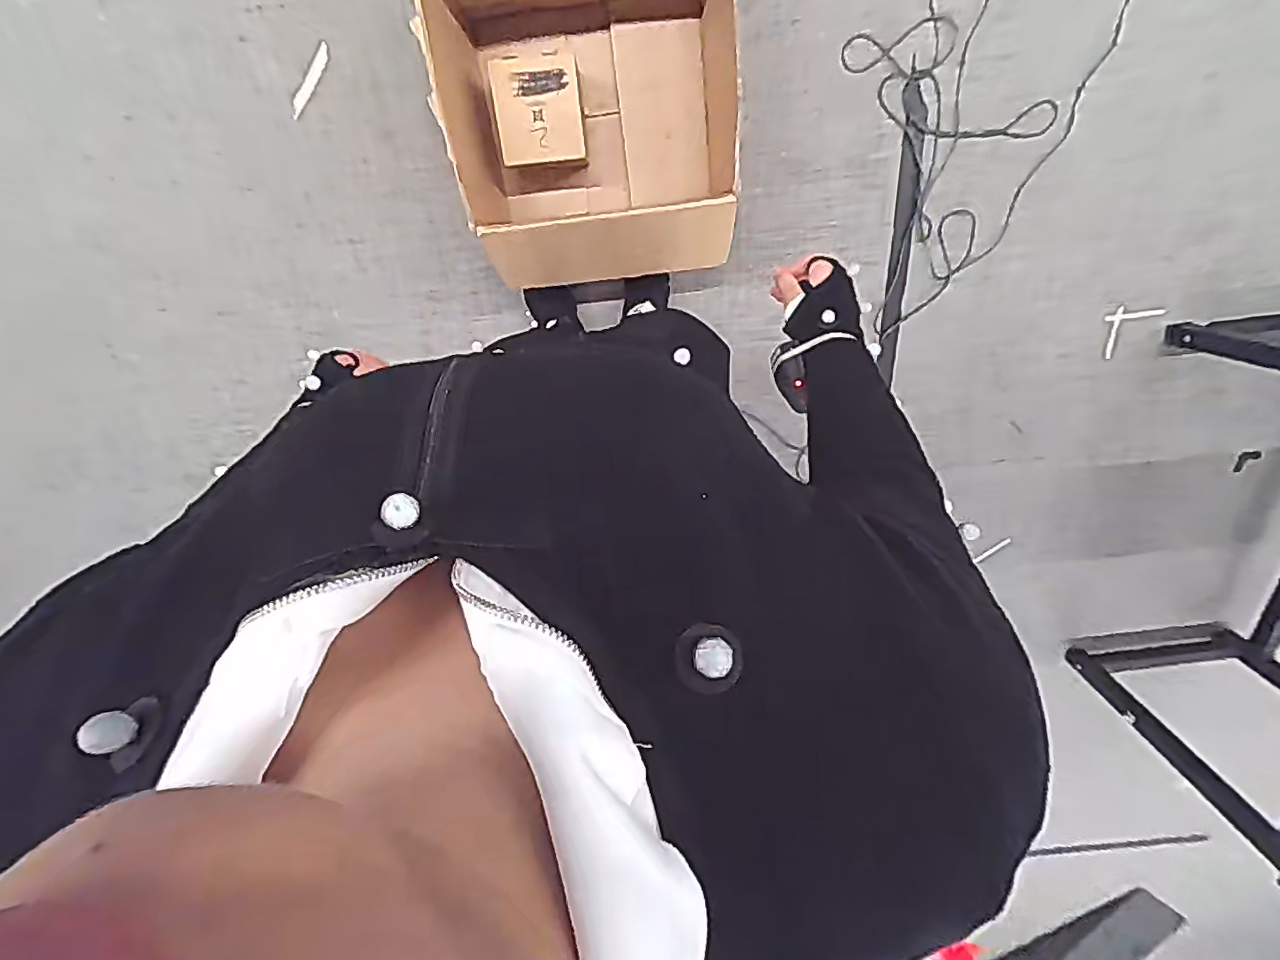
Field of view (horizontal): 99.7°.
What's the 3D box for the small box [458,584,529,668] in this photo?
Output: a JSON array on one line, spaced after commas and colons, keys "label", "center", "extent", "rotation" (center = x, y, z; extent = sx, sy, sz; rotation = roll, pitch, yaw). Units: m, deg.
[{"label": "small box", "center": [-0.437, 0.441, 1.642], "extent": [0.168, 0.176, 0.179], "rotation": [-5, 114, -2]}]
